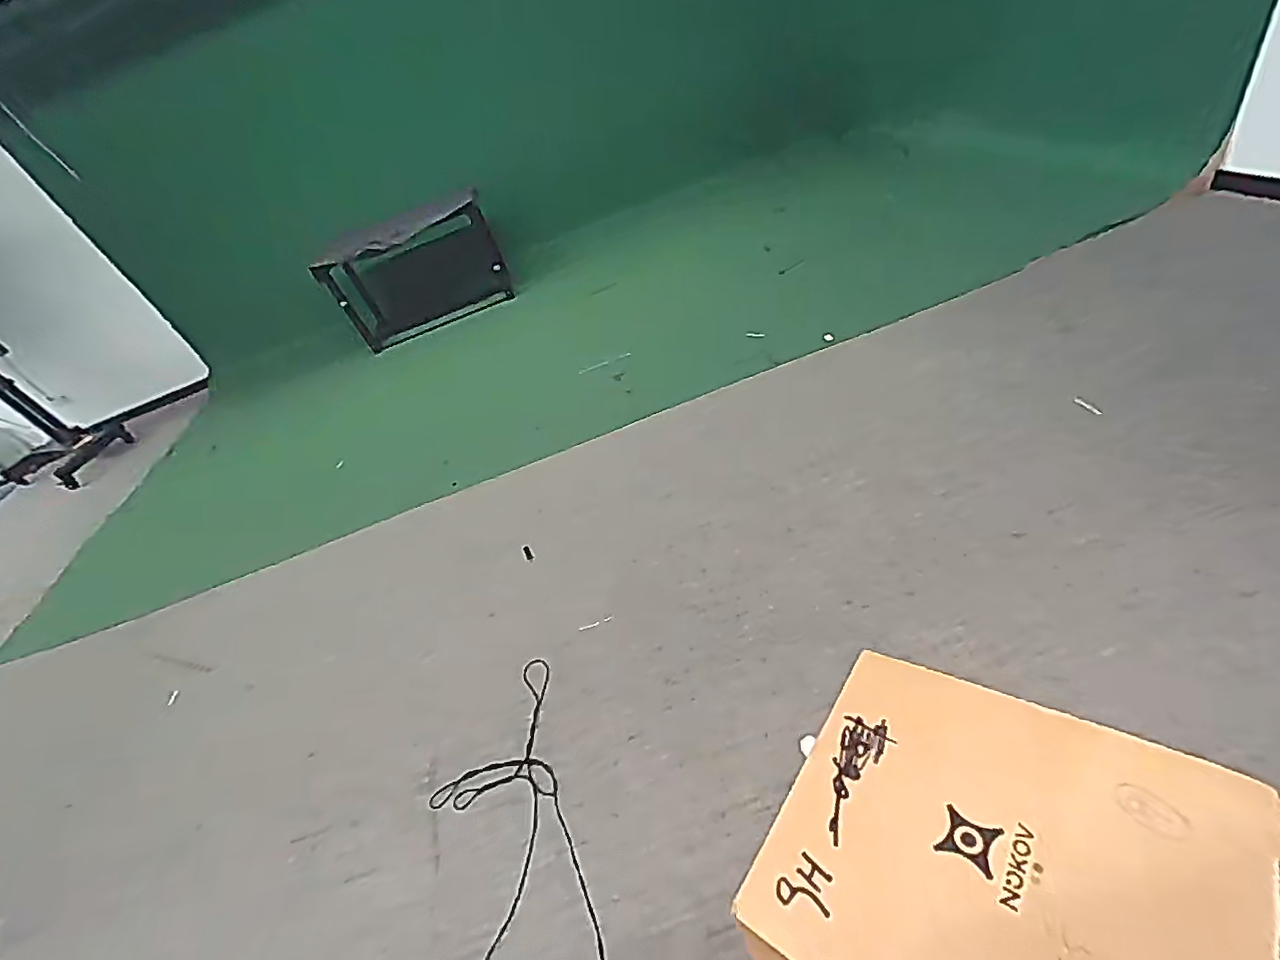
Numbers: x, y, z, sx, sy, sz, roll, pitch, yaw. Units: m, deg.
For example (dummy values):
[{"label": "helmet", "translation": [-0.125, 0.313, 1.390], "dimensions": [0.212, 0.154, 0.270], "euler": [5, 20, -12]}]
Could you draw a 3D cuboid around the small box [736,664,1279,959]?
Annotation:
[{"label": "small box", "translation": [0.179, 0.237, 0.275], "dimensions": [0.179, 0.176, 0.168], "euler": [12, 43, 43]}]
